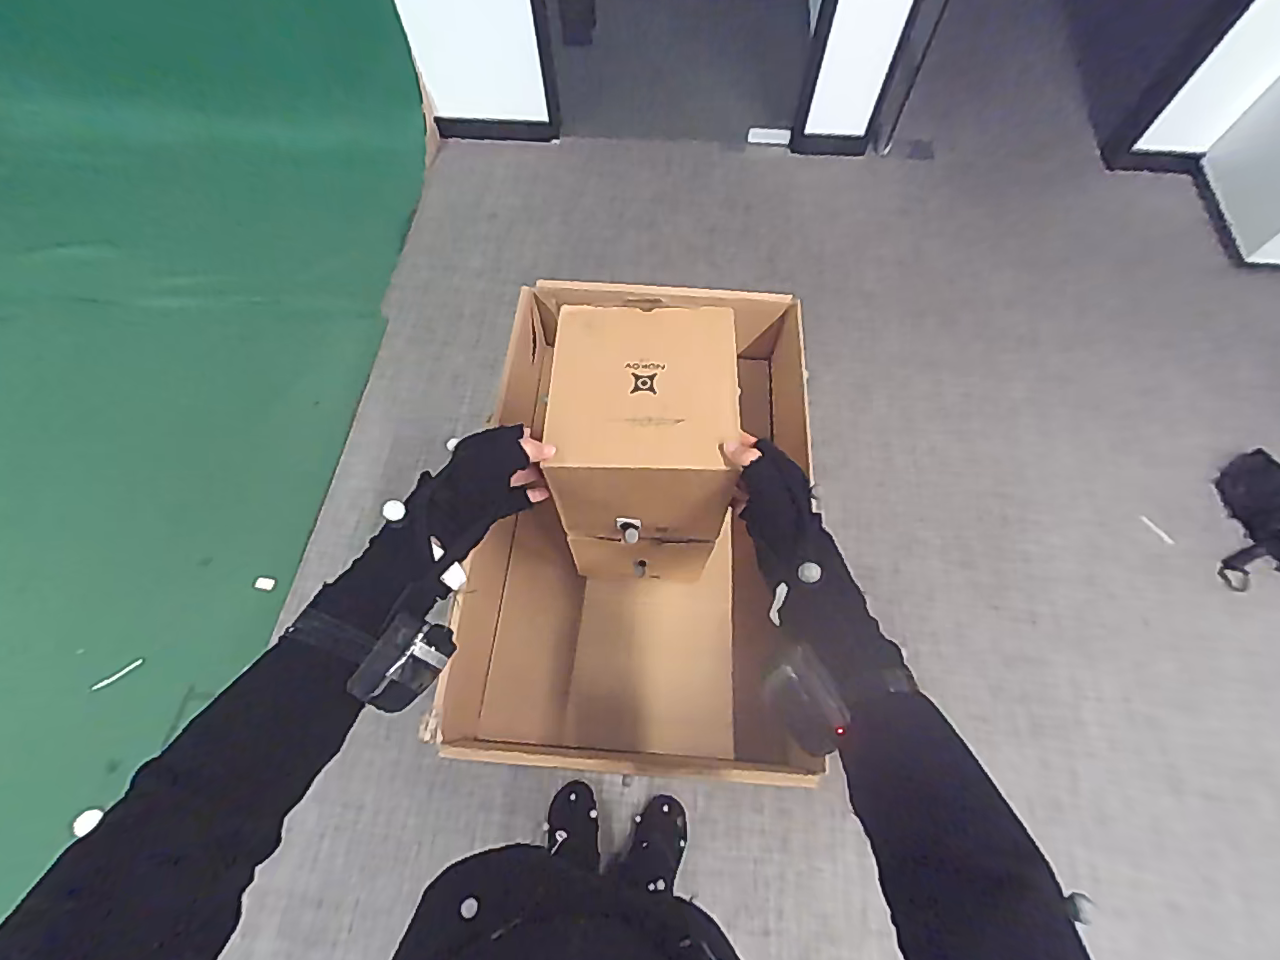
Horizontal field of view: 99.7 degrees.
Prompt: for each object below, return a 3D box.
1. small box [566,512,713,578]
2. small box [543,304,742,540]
[{"bbox_3d":[0.005,0.022,0.696,0.168,0.176,0.179,4,66,0],"label":"small box"},{"bbox_3d":[0.006,-0.051,0.546,0.168,0.176,0.179,1,65,2],"label":"small box"}]
